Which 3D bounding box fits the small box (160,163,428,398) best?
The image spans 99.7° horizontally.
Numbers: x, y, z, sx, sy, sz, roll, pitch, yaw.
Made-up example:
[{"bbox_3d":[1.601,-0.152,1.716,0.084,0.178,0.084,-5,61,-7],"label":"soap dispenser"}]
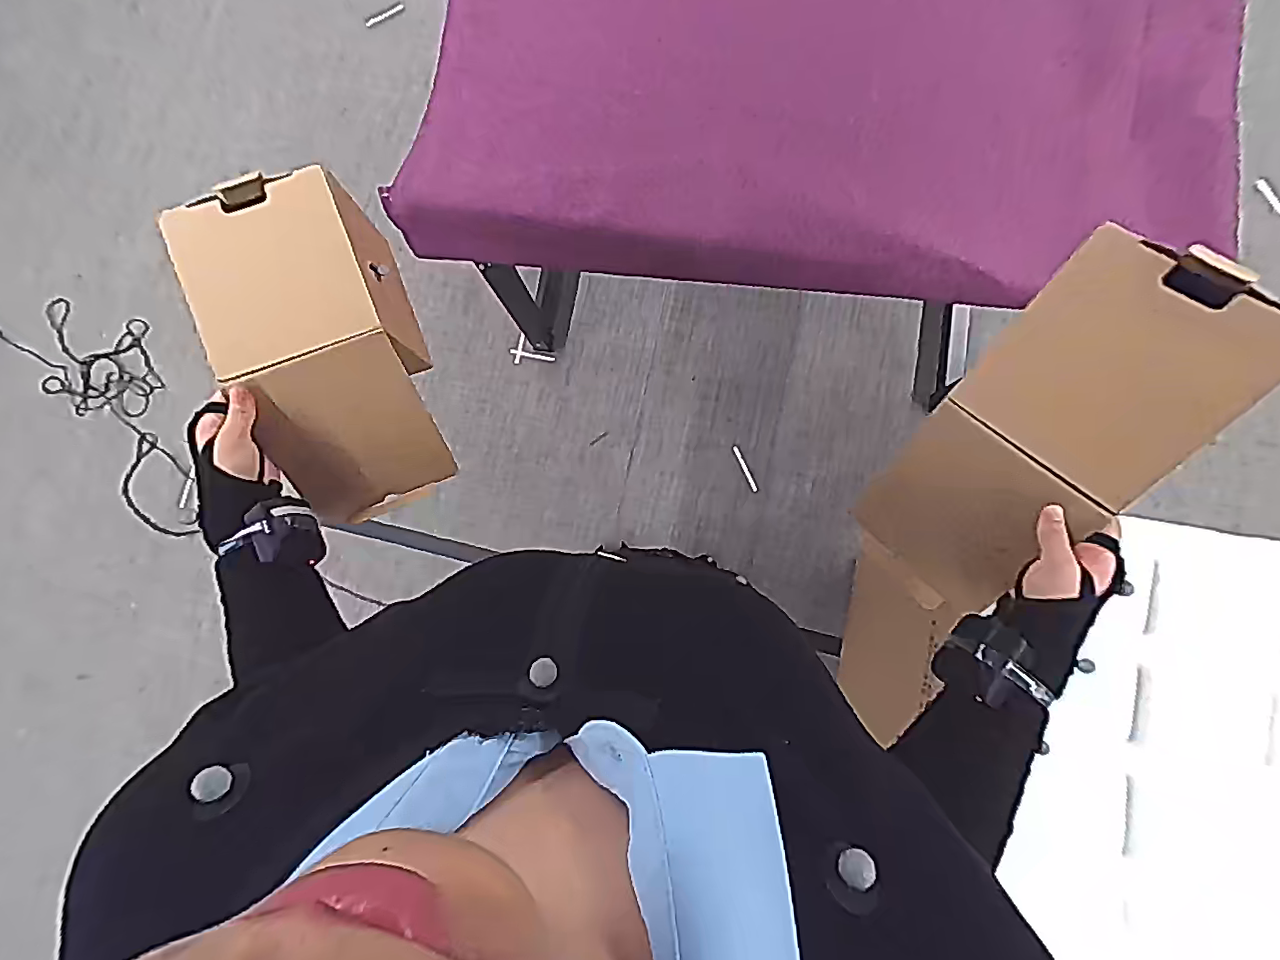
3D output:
[{"bbox_3d":[-0.360,-0.201,0.601,0.168,0.176,0.179,-20,89,-5],"label":"small box"}]
